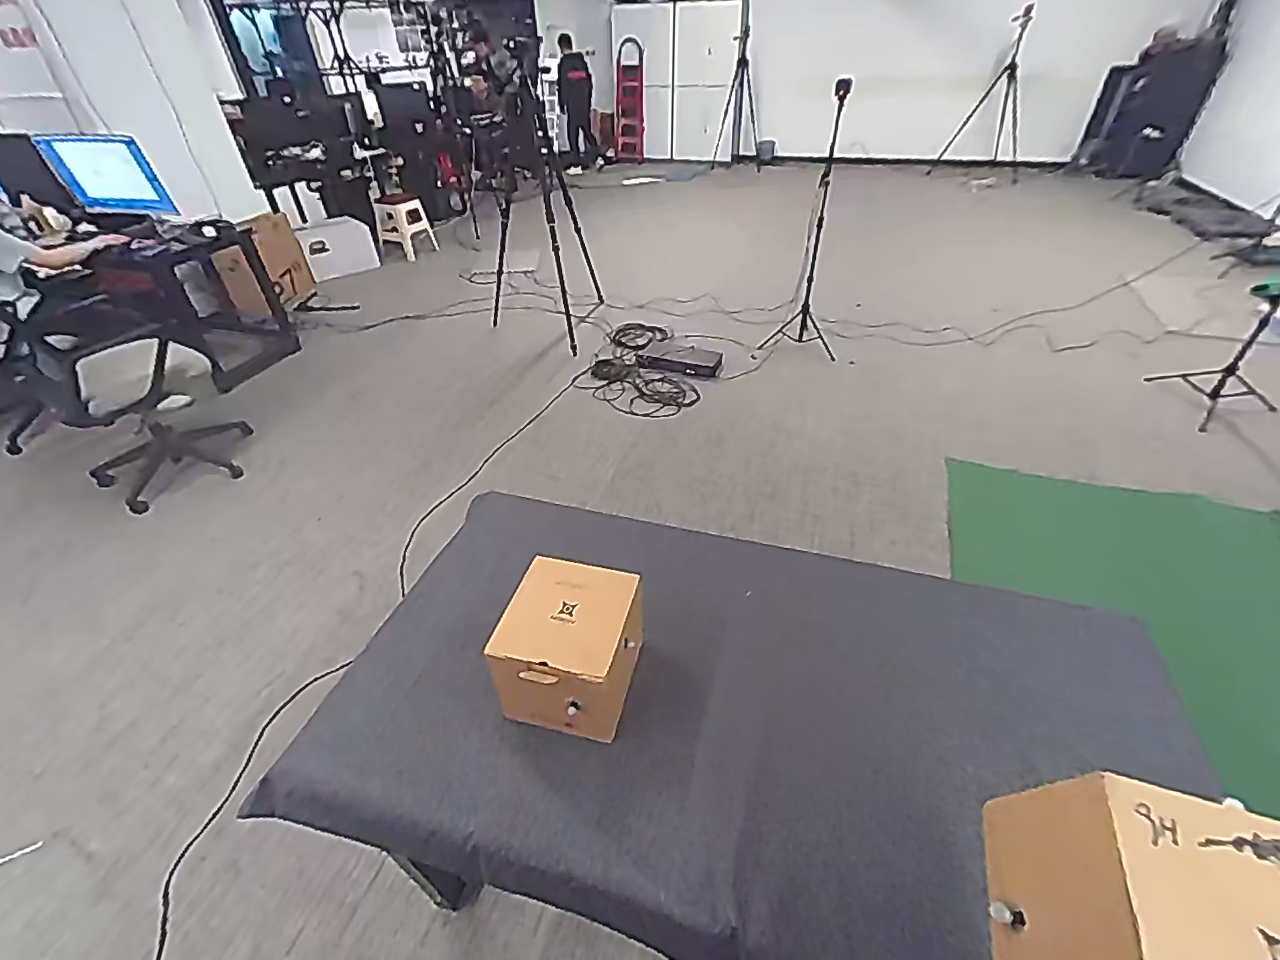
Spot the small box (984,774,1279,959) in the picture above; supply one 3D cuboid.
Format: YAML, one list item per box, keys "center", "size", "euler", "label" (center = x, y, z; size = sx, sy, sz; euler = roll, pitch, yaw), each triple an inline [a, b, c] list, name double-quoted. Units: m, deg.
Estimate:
- center: [0.371, 0.335, 0.378]
  size: [0.168, 0.176, 0.179]
  euler: [14, 55, 9]
  label: "small box"

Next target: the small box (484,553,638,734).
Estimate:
- center: [-0.100, 0.237, 0.787]
  size: [0.168, 0.176, 0.179]
  euler: [9, 39, 11]
  label: "small box"
